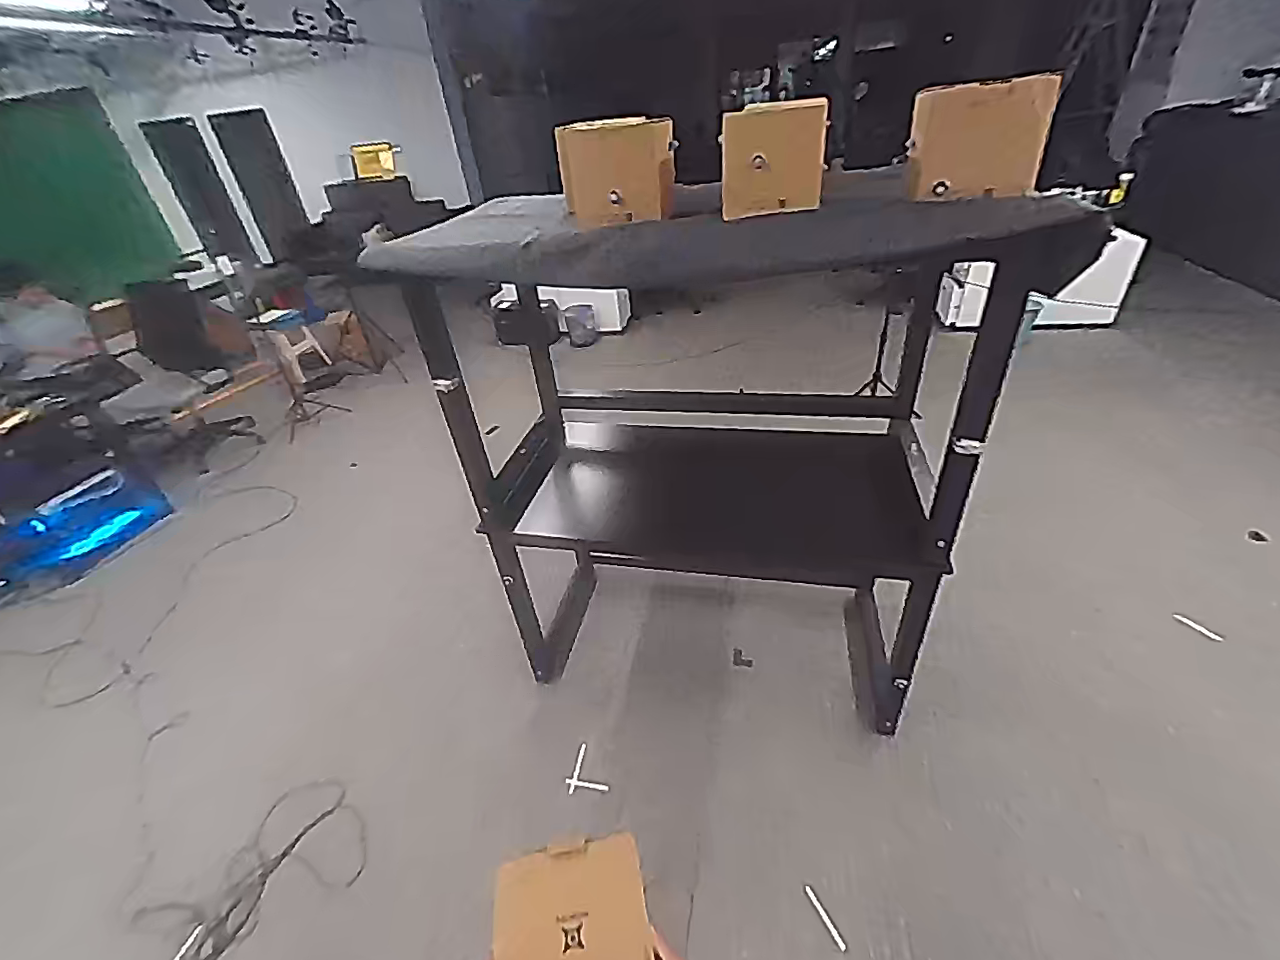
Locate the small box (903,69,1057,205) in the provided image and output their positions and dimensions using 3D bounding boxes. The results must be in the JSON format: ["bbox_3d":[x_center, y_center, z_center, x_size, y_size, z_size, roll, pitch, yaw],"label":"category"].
[{"bbox_3d":[0.544,-0.555,0.892,0.168,0.176,0.179,4,32,16],"label":"small box"}]

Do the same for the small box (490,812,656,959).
[{"bbox_3d":[-0.079,0.523,0.616,0.168,0.176,0.179,-4,33,-11],"label":"small box"}]

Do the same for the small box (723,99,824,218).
[{"bbox_3d":[0.244,-0.583,0.990,0.168,0.176,0.179,3,34,14],"label":"small box"}]

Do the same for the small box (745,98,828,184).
[{"bbox_3d":[0.315,-0.728,1.187,0.168,0.176,0.179,3,35,13],"label":"small box"}]
